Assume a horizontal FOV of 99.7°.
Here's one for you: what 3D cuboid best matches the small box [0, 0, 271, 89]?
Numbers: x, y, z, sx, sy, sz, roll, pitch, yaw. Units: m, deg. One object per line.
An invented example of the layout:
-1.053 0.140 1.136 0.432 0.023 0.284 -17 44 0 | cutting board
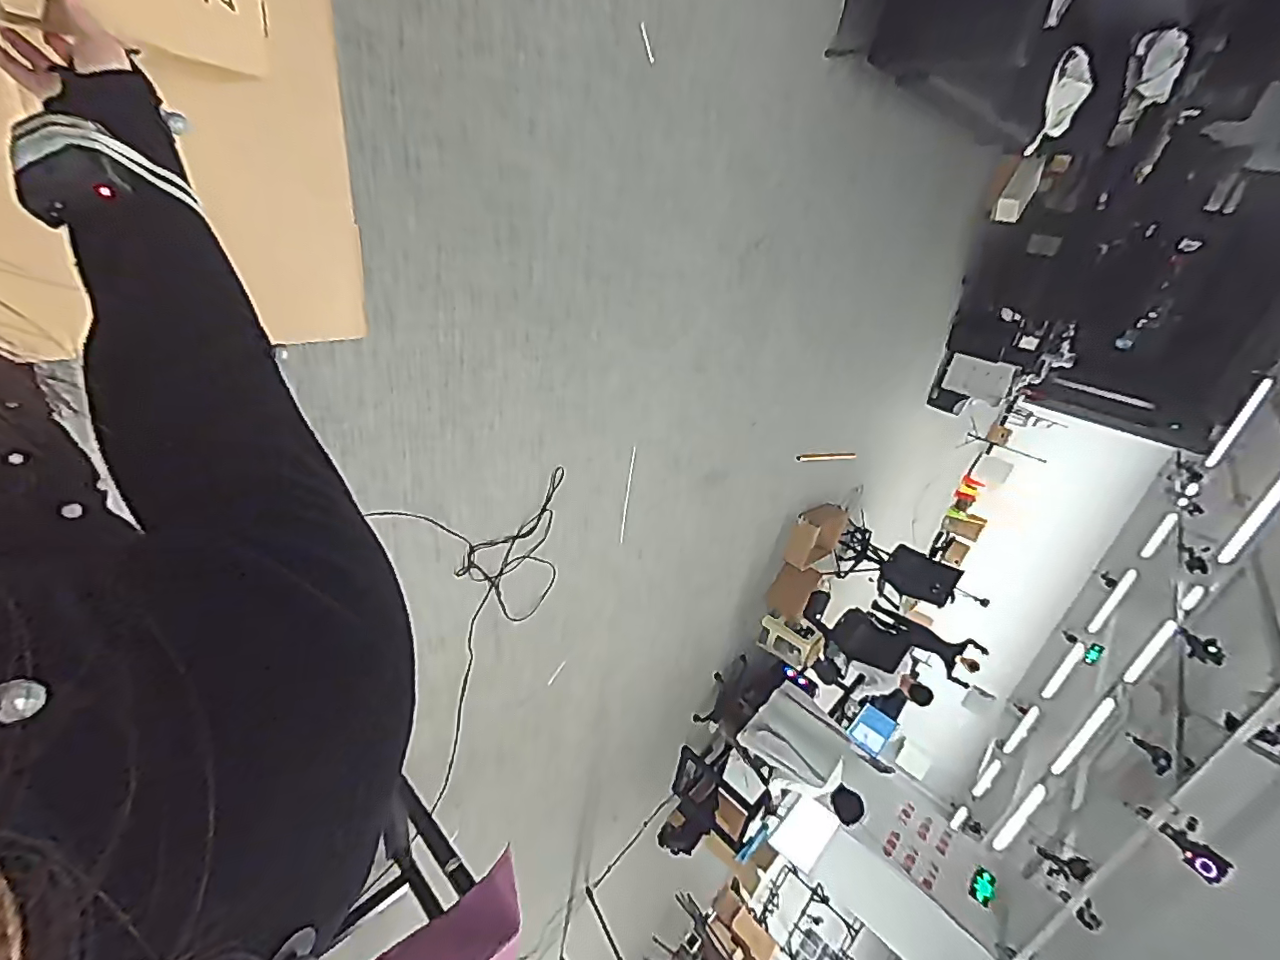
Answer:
-0.455 -0.460 0.472 0.179 0.176 0.168 -17 126 -43 | small box
